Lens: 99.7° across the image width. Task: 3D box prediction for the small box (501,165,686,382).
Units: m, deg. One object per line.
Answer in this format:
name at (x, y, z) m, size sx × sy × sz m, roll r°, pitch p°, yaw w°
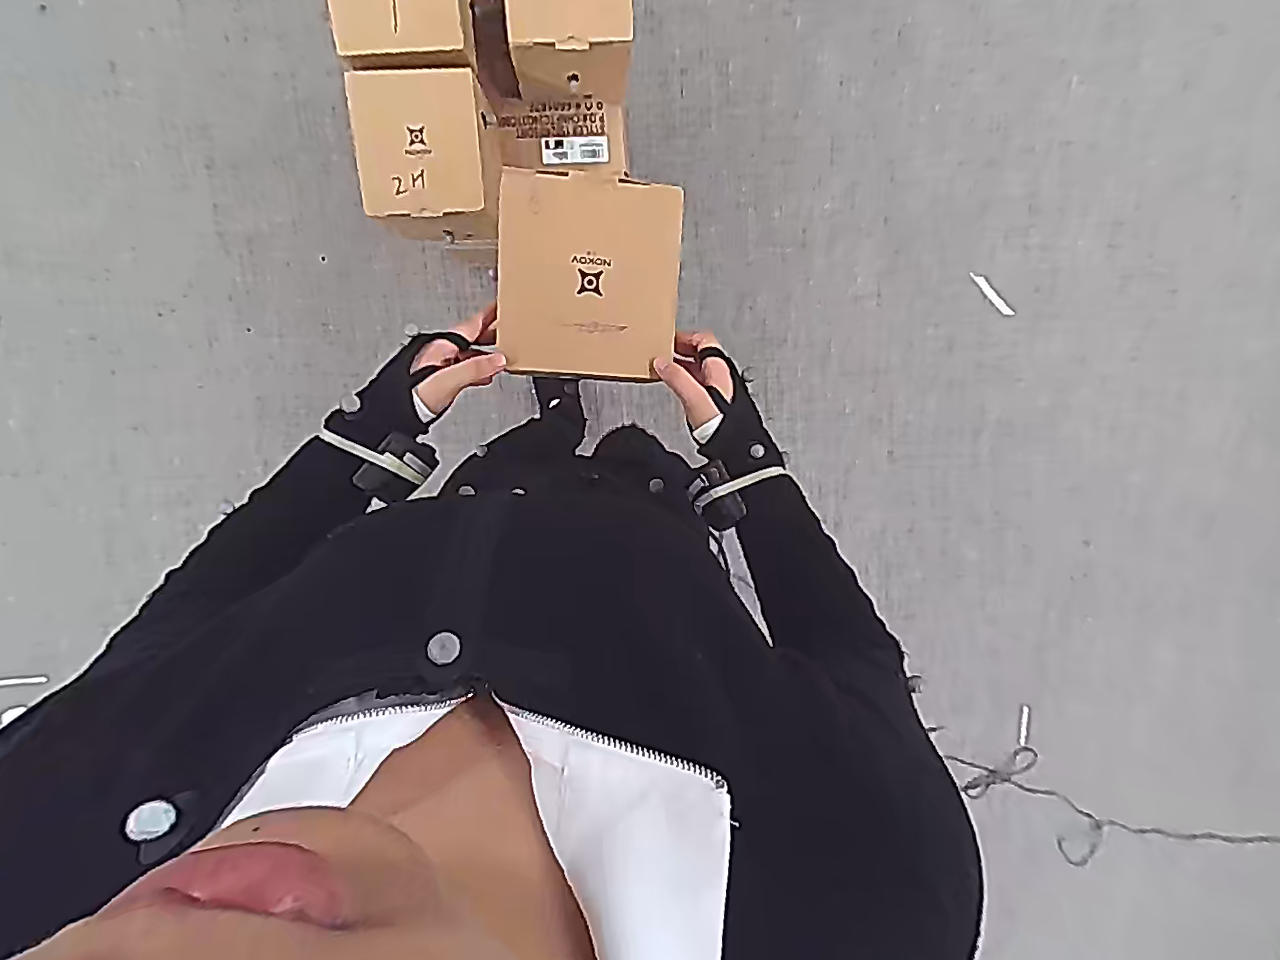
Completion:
small box at (-0.053, -0.199, 0.574) m, size 0.168 × 0.176 × 0.179 m, roll 2°, pitch 99°, yaw -7°
